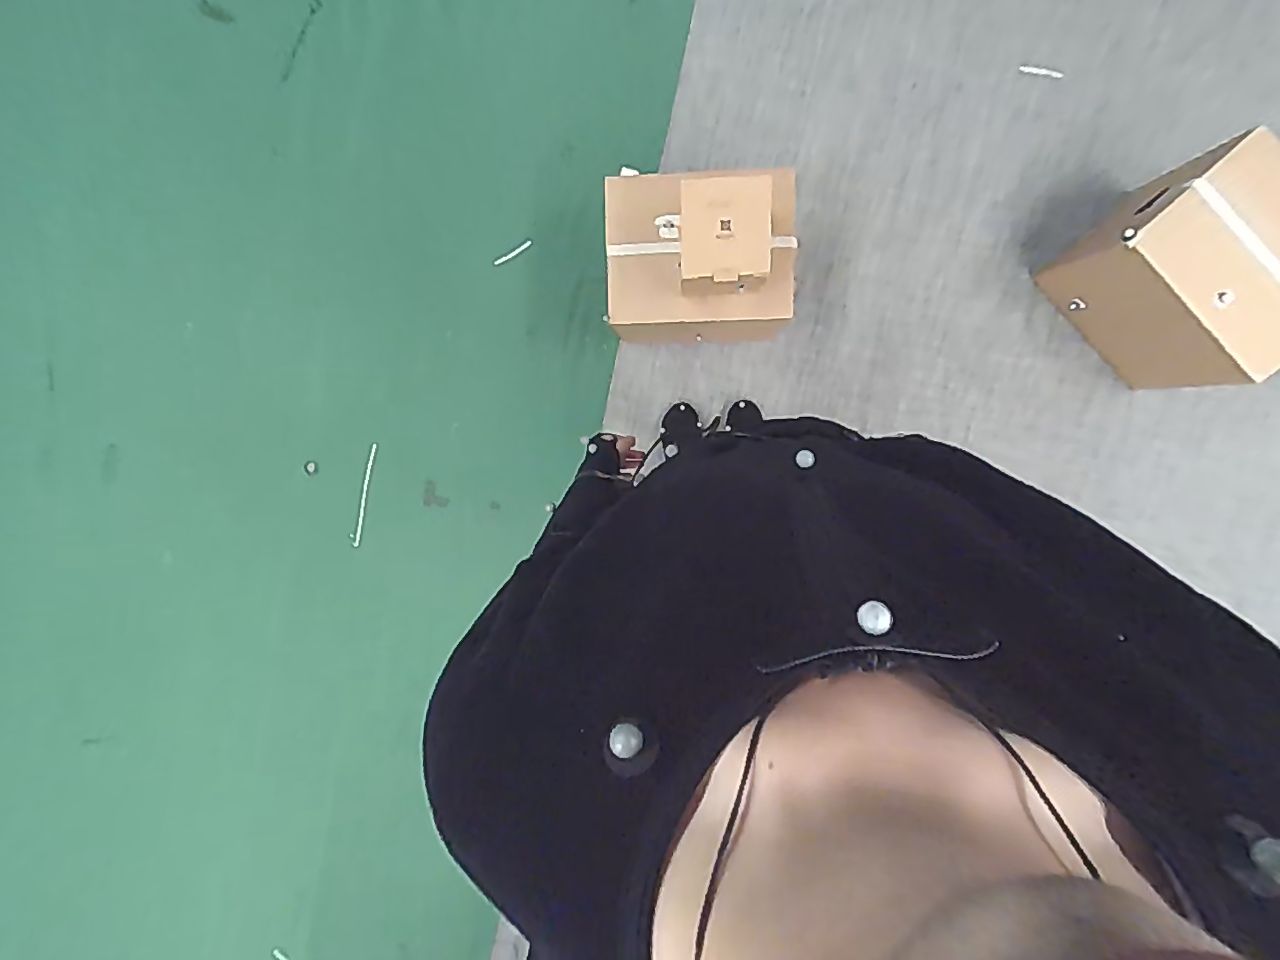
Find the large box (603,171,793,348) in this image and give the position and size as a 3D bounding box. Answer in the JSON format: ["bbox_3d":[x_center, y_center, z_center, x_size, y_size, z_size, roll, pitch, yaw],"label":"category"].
[{"bbox_3d":[0.139,-0.500,1.303,0.408,0.320,0.320,-1,95,6],"label":"large box"}]

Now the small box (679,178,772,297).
[{"bbox_3d":[0.161,-0.462,1.057,0.168,0.176,0.179,0,97,5],"label":"small box"}]
